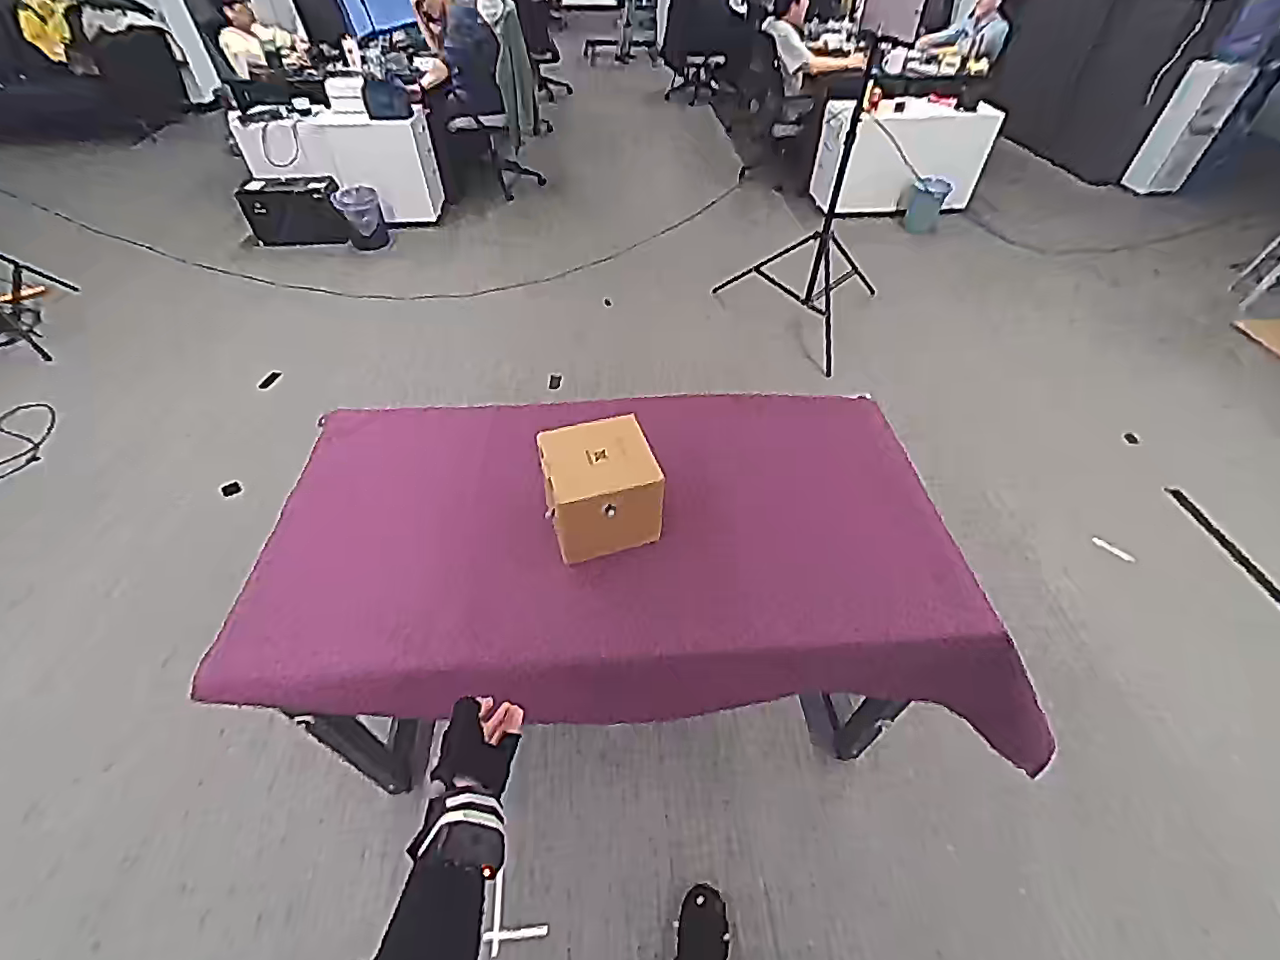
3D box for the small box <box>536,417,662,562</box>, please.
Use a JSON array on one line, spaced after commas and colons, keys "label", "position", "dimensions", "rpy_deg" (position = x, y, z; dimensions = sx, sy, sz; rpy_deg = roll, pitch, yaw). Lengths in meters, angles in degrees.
[{"label": "small box", "position": [-0.069, 0.019, 0.941], "dimensions": [0.179, 0.176, 0.168], "rpy_deg": [-14, 49, -13]}]
